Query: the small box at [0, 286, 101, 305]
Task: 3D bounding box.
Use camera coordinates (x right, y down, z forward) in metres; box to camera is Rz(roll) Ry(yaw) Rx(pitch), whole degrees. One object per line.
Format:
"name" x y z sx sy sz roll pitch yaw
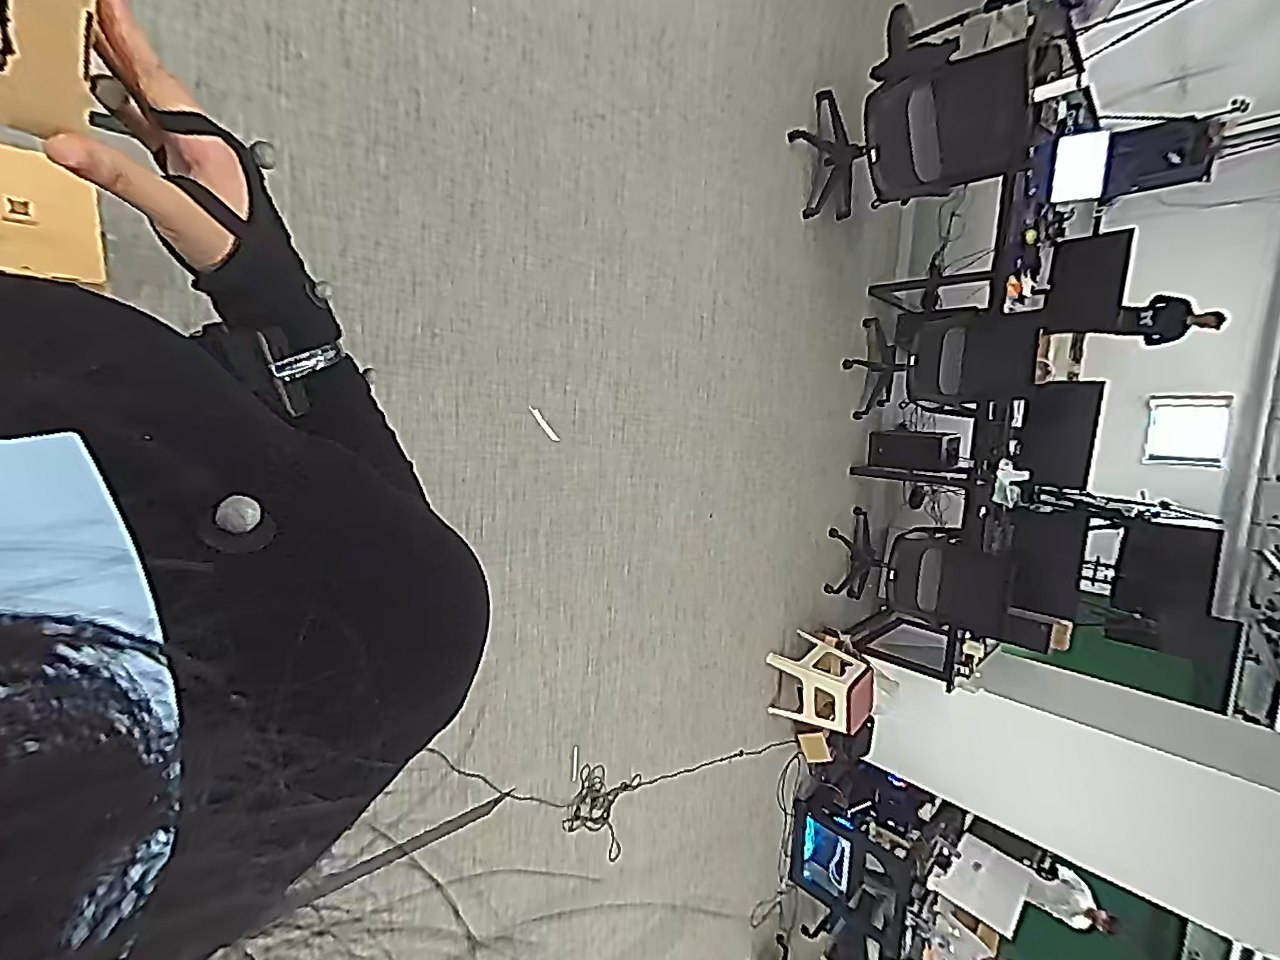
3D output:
"small box" -1.055 -0.407 0.933 0.168 0.176 0.179 -8 102 -45

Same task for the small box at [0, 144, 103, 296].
"small box" -0.940 -0.389 0.819 0.168 0.176 0.179 -6 102 -45
